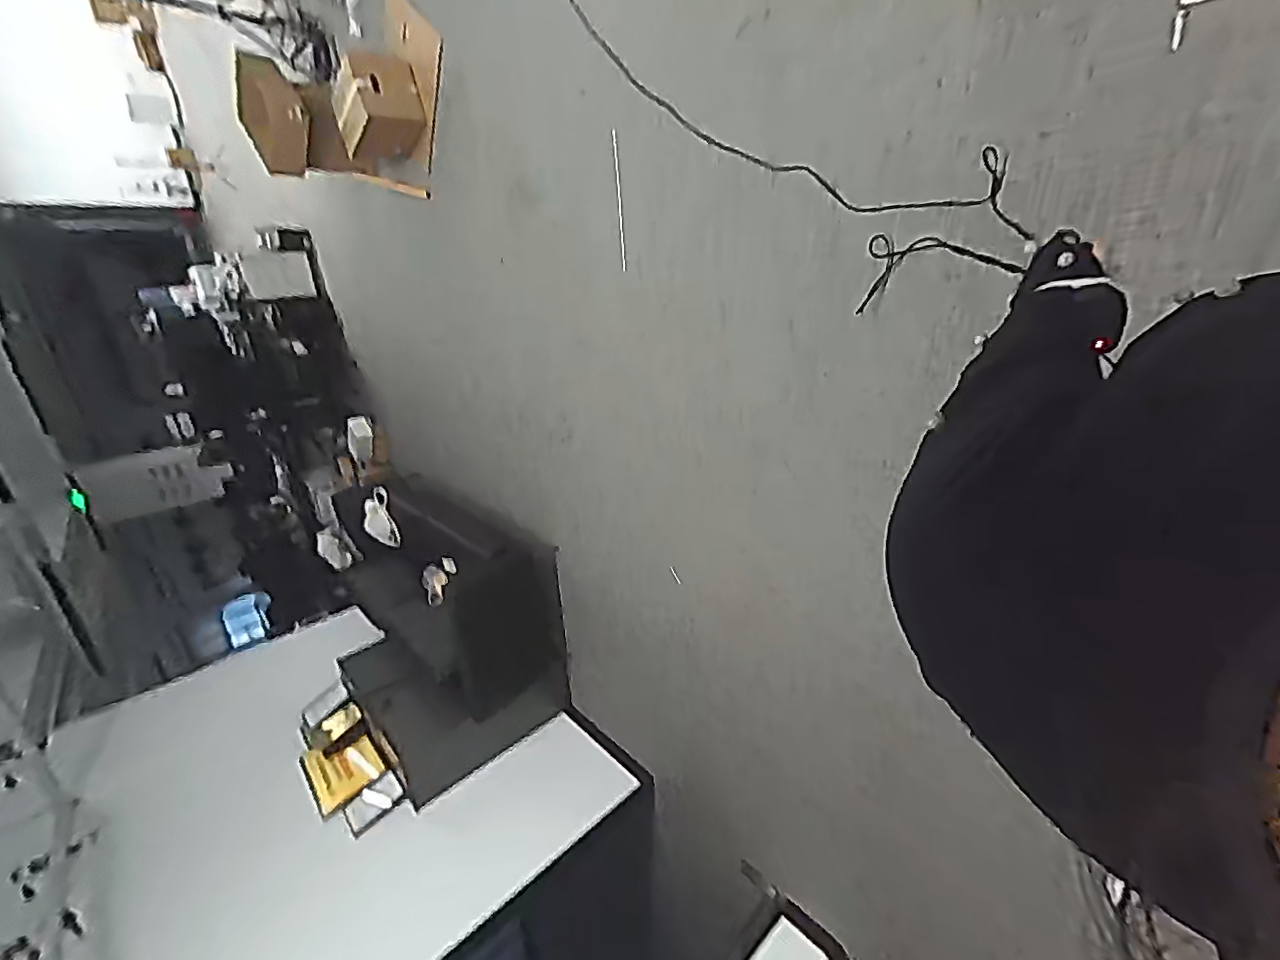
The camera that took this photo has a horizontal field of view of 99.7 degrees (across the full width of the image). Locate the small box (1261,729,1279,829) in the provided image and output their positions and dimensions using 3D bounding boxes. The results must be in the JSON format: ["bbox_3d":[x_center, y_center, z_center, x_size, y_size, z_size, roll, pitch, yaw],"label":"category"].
[{"bbox_3d":[1.181,0.503,0.897,0.168,0.176,0.179,18,120,46],"label":"small box"}]

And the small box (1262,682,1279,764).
[{"bbox_3d":[1.302,0.457,1.000,0.168,0.176,0.179,19,122,45],"label":"small box"}]
